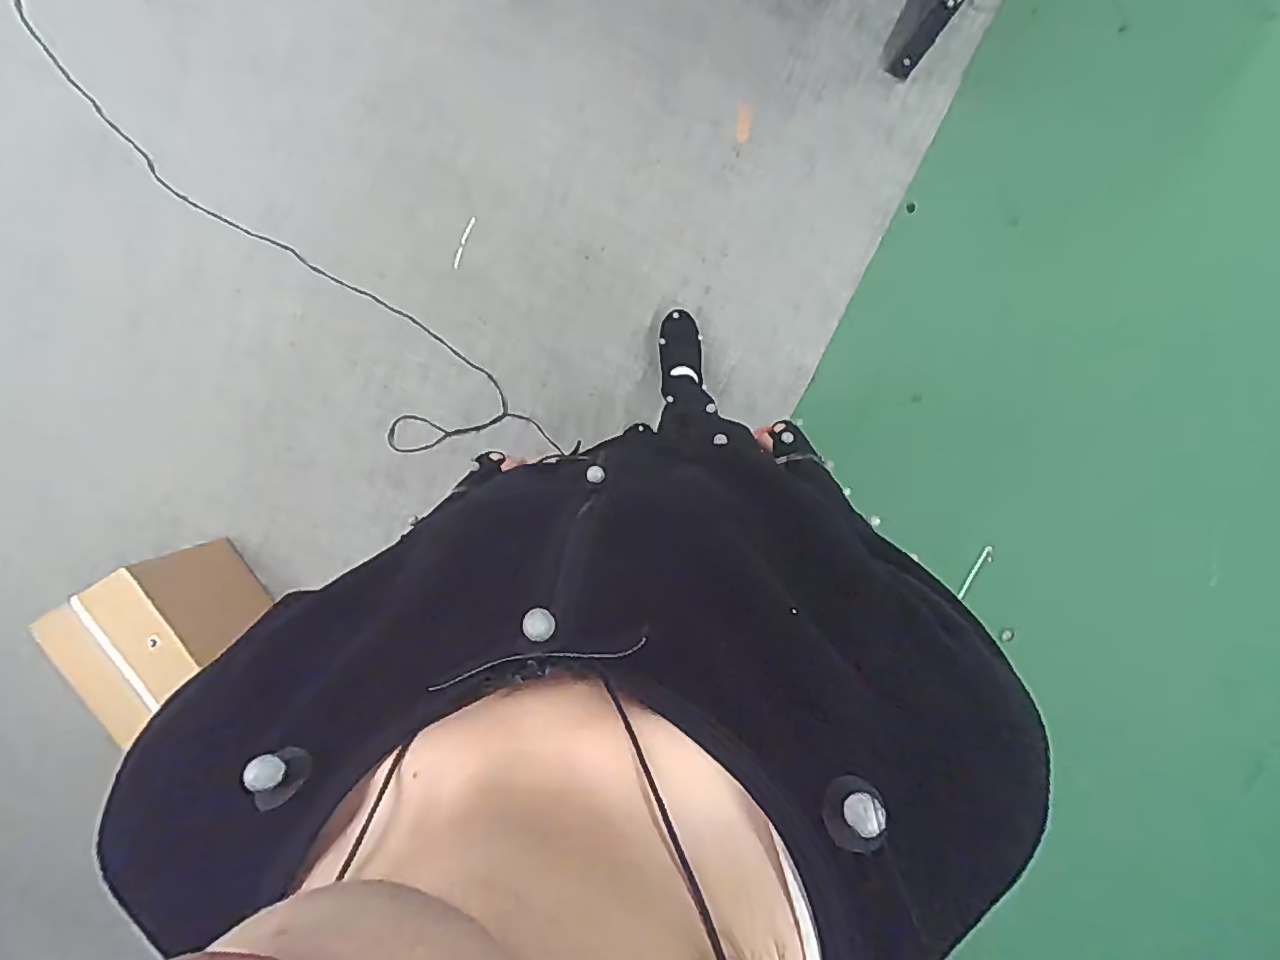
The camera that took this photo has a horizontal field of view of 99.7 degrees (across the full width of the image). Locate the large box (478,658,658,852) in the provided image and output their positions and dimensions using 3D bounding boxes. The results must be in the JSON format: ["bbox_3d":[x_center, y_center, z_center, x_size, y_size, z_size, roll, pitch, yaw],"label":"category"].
[{"bbox_3d":[-0.177,0.714,1.451,0.408,0.320,0.320,11,99,-1],"label":"large box"}]
